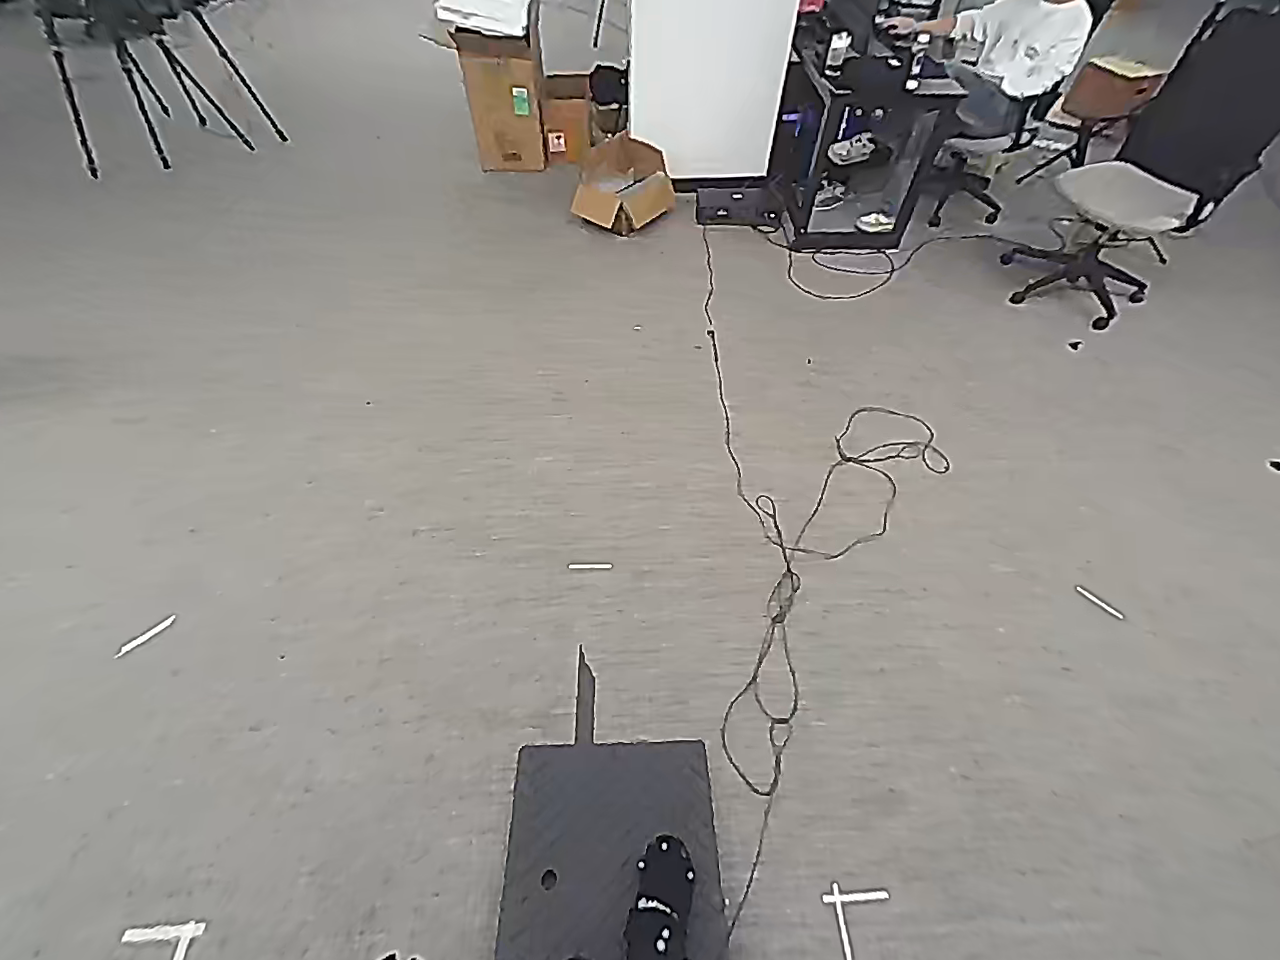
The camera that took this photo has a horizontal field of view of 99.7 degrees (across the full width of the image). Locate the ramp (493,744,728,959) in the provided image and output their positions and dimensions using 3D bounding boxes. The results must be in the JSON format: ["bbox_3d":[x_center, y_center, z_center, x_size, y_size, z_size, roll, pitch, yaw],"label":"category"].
[{"bbox_3d":[-0.060,1.047,1.065,0.509,0.206,0.991,-3,52,-2],"label":"ramp"}]
